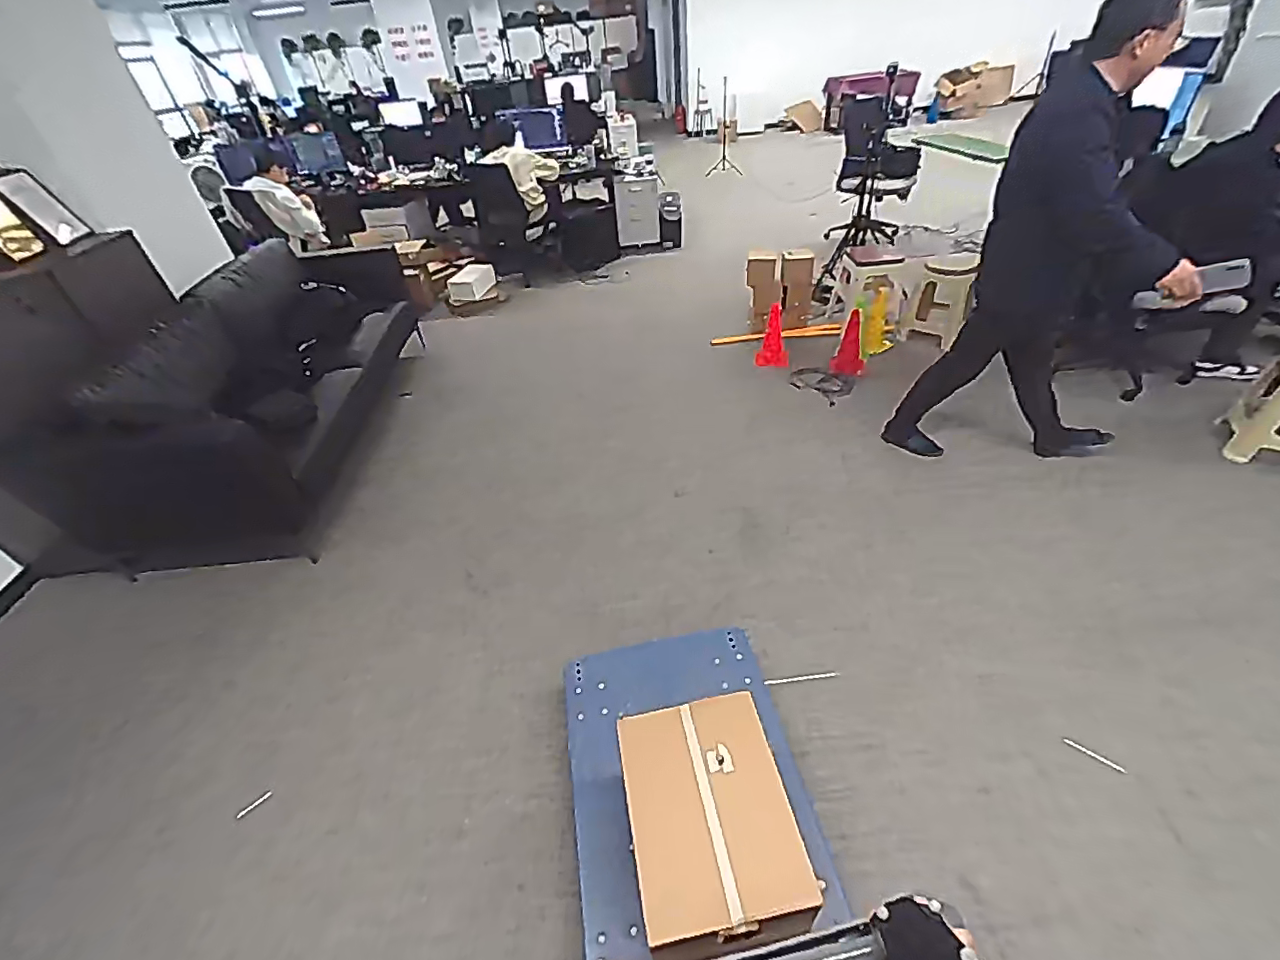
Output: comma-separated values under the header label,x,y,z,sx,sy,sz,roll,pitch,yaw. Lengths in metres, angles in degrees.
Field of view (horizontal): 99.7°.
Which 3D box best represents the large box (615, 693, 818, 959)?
label,x,y,z,sx,sy,sz,roll,pitch,yaw
large box,0.145,0.754,1.176,0.320,0.320,0.408,-11,40,-5
